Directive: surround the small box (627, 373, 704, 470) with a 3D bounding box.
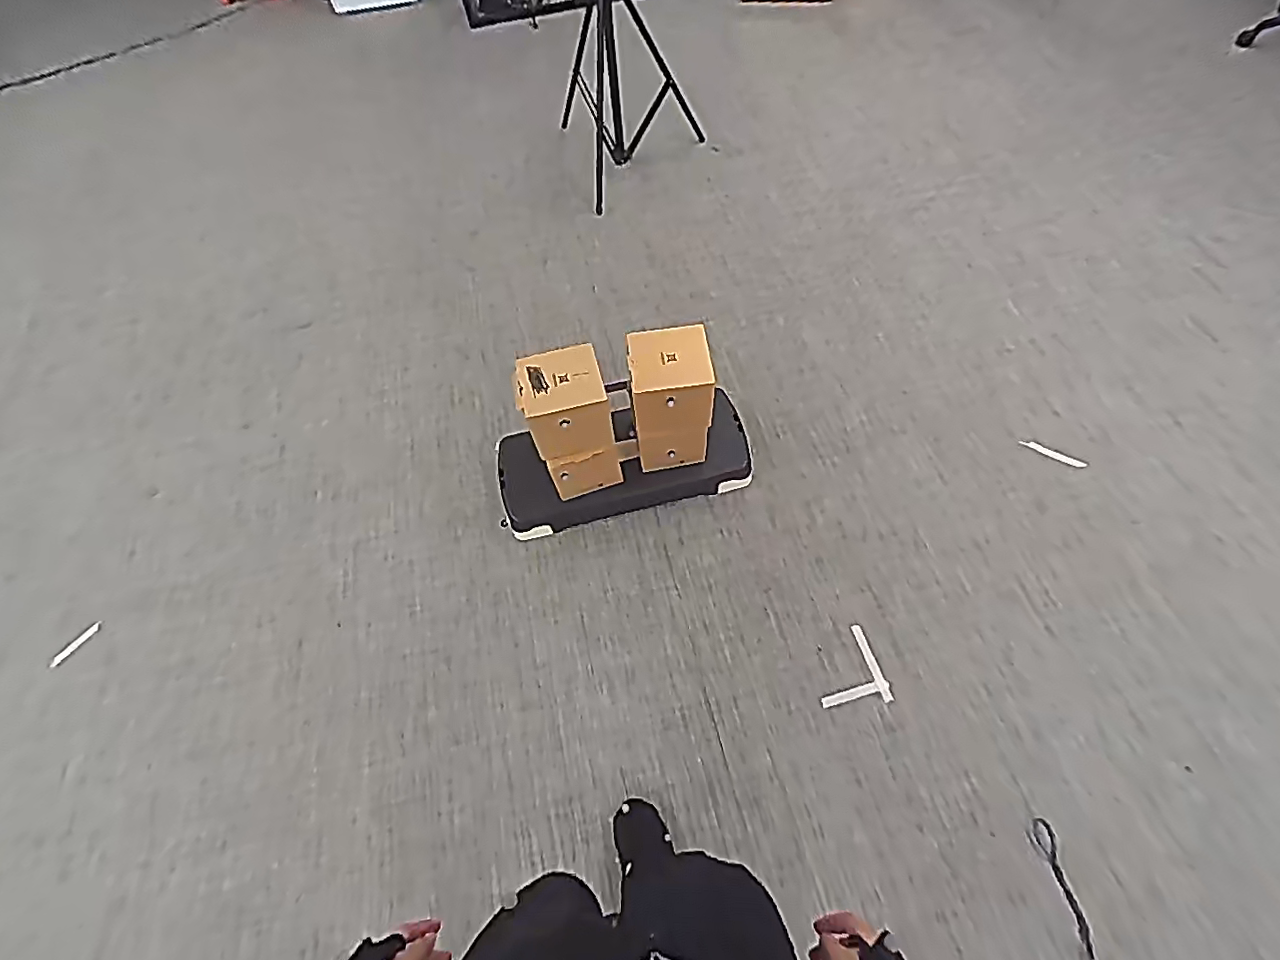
[{"bbox_3d":[0.066,-0.139,1.367,0.168,0.176,0.179,-10,62,-1],"label":"small box"}]
